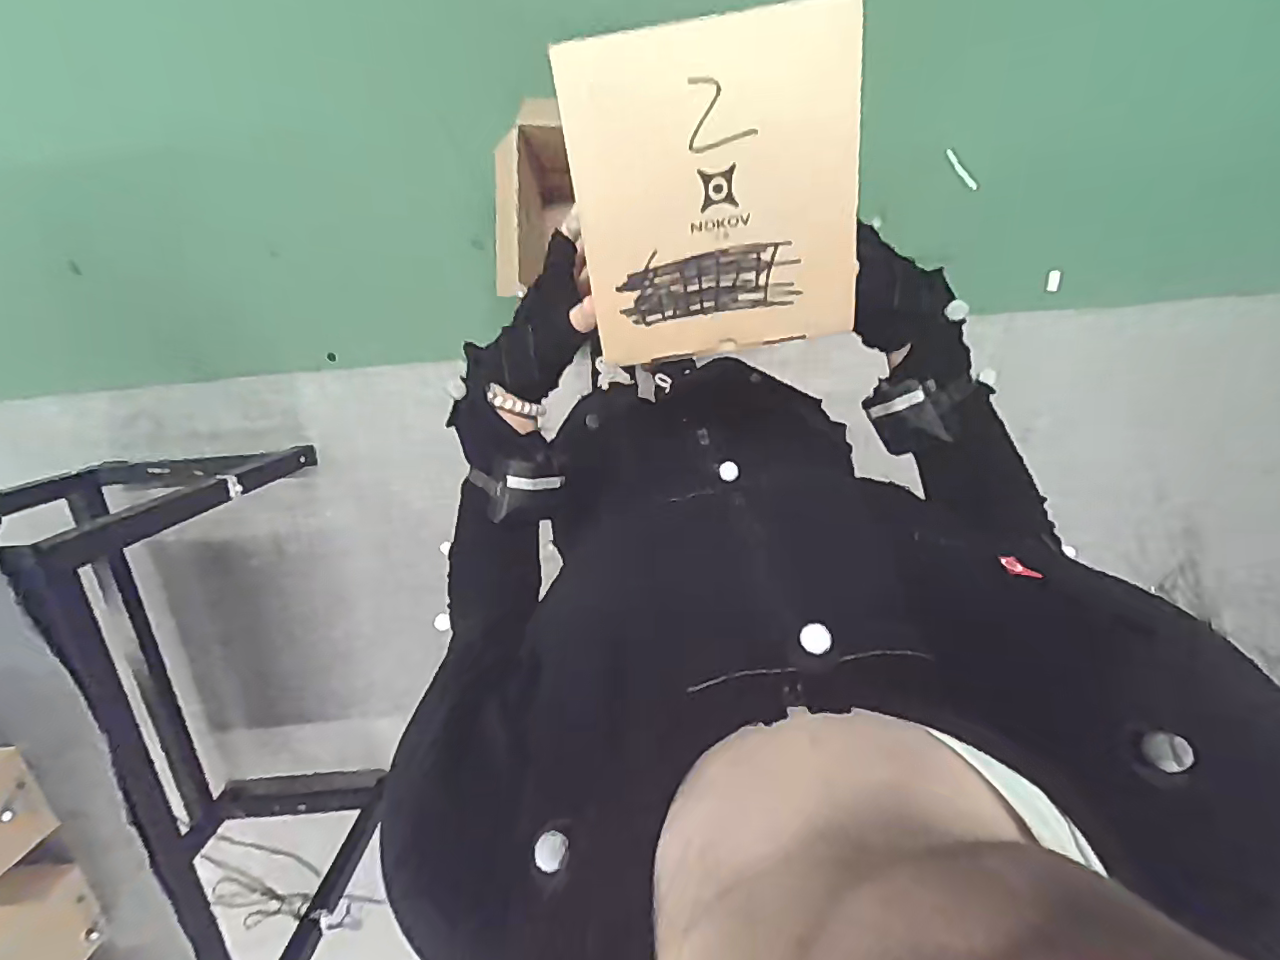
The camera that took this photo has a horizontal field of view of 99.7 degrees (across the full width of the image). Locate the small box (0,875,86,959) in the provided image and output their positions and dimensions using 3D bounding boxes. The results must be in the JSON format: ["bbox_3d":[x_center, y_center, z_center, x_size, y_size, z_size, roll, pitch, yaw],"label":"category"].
[{"bbox_3d":[-1.045,0.764,0.854,0.179,0.176,0.168,-3,105,1],"label":"small box"}]

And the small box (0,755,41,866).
[{"bbox_3d":[-1.066,0.531,0.788,0.179,0.176,0.168,-5,106,1],"label":"small box"}]
